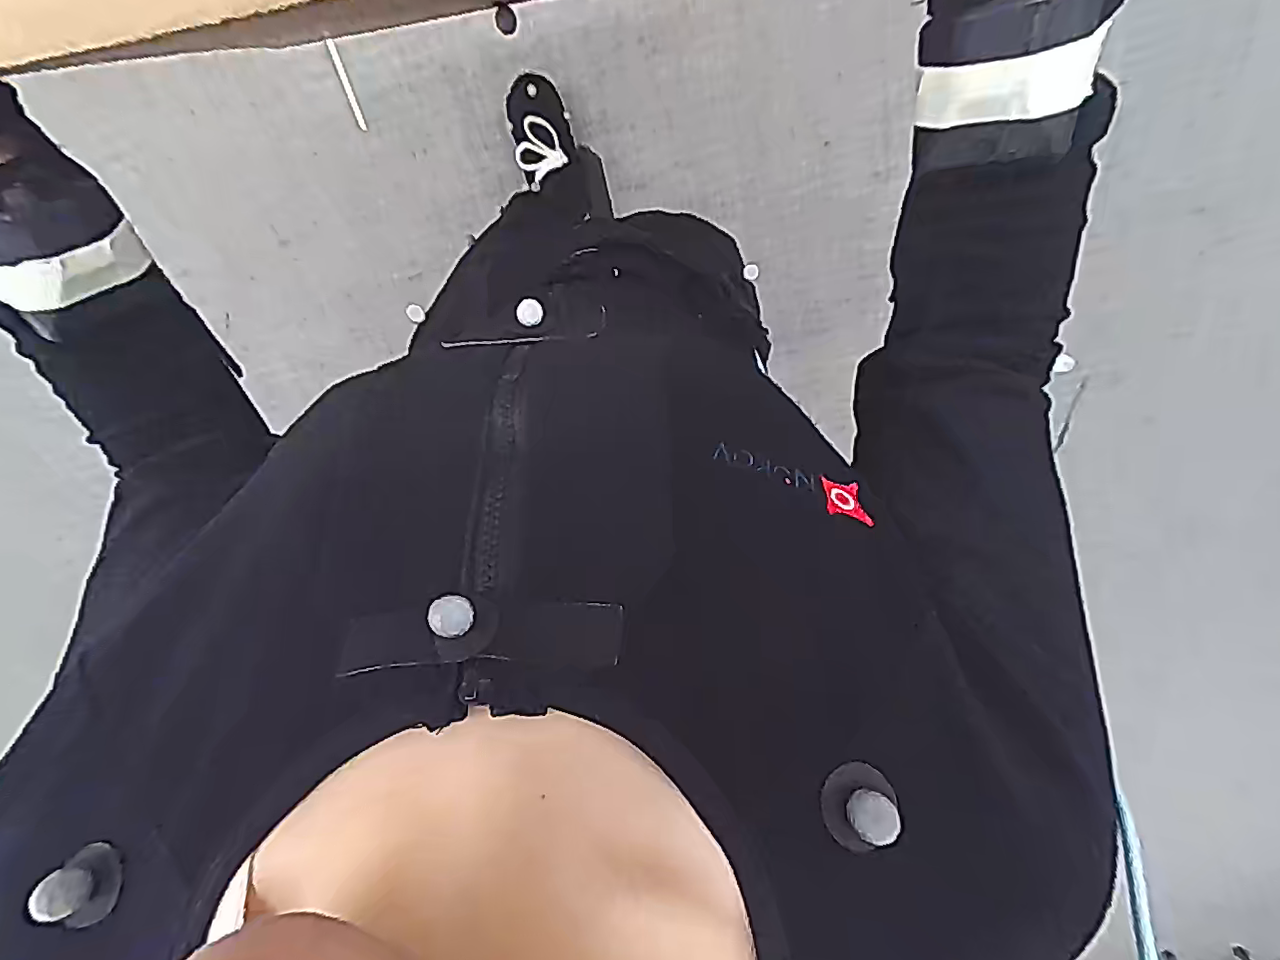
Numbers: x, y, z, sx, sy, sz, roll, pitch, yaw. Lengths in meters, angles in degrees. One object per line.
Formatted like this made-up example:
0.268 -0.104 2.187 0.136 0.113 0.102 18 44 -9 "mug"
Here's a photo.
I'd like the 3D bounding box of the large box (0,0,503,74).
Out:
-0.107 -0.396 0.209 0.408 0.320 0.320 -9 131 3 "large box"
